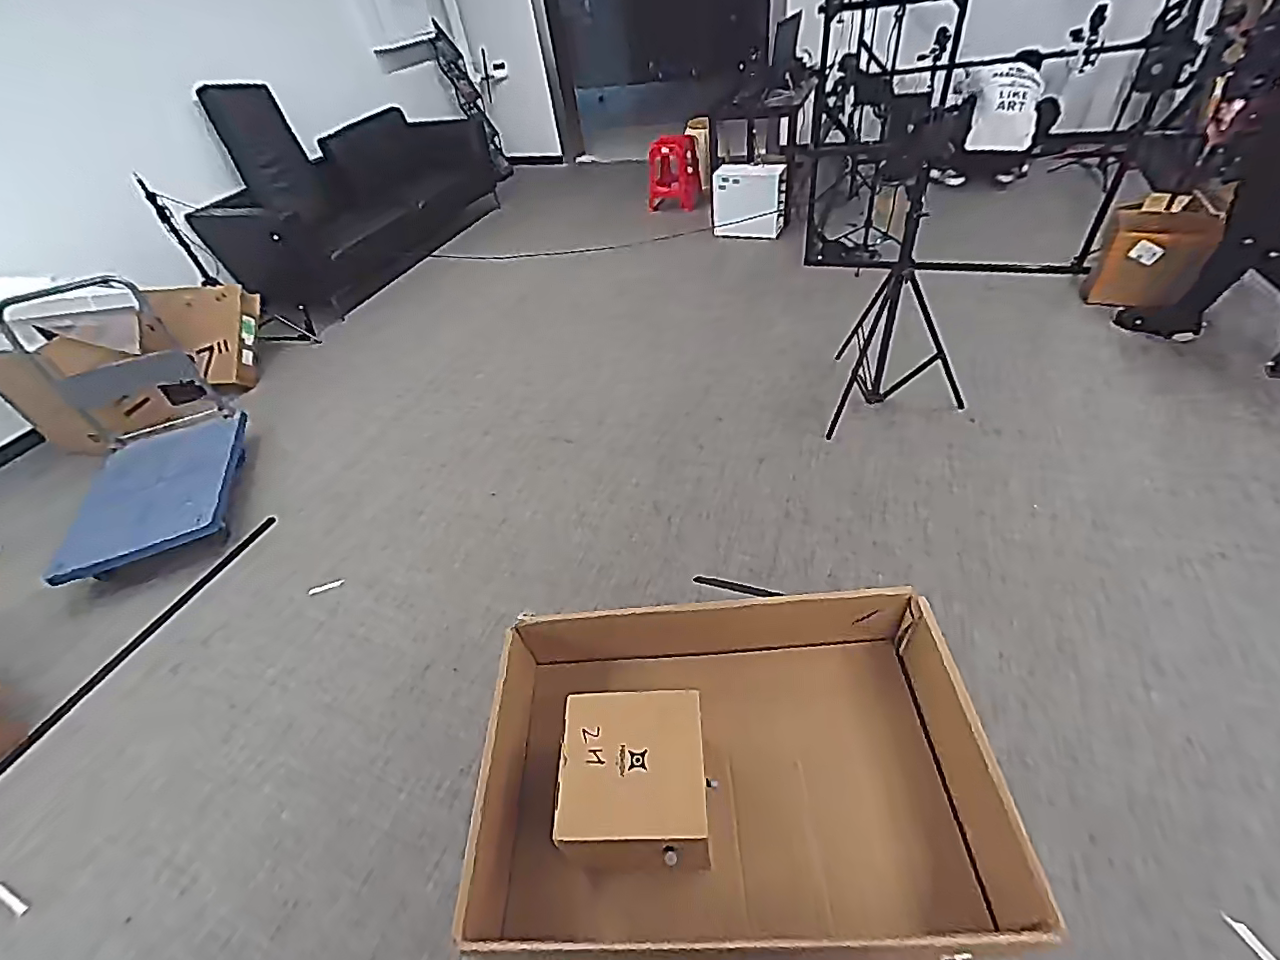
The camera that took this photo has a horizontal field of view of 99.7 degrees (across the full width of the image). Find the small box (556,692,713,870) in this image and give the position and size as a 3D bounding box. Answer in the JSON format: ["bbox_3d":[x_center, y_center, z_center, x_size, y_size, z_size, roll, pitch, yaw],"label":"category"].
[{"bbox_3d":[0.003,0.392,0.704,0.179,0.176,0.168,-5,45,6],"label":"small box"}]
